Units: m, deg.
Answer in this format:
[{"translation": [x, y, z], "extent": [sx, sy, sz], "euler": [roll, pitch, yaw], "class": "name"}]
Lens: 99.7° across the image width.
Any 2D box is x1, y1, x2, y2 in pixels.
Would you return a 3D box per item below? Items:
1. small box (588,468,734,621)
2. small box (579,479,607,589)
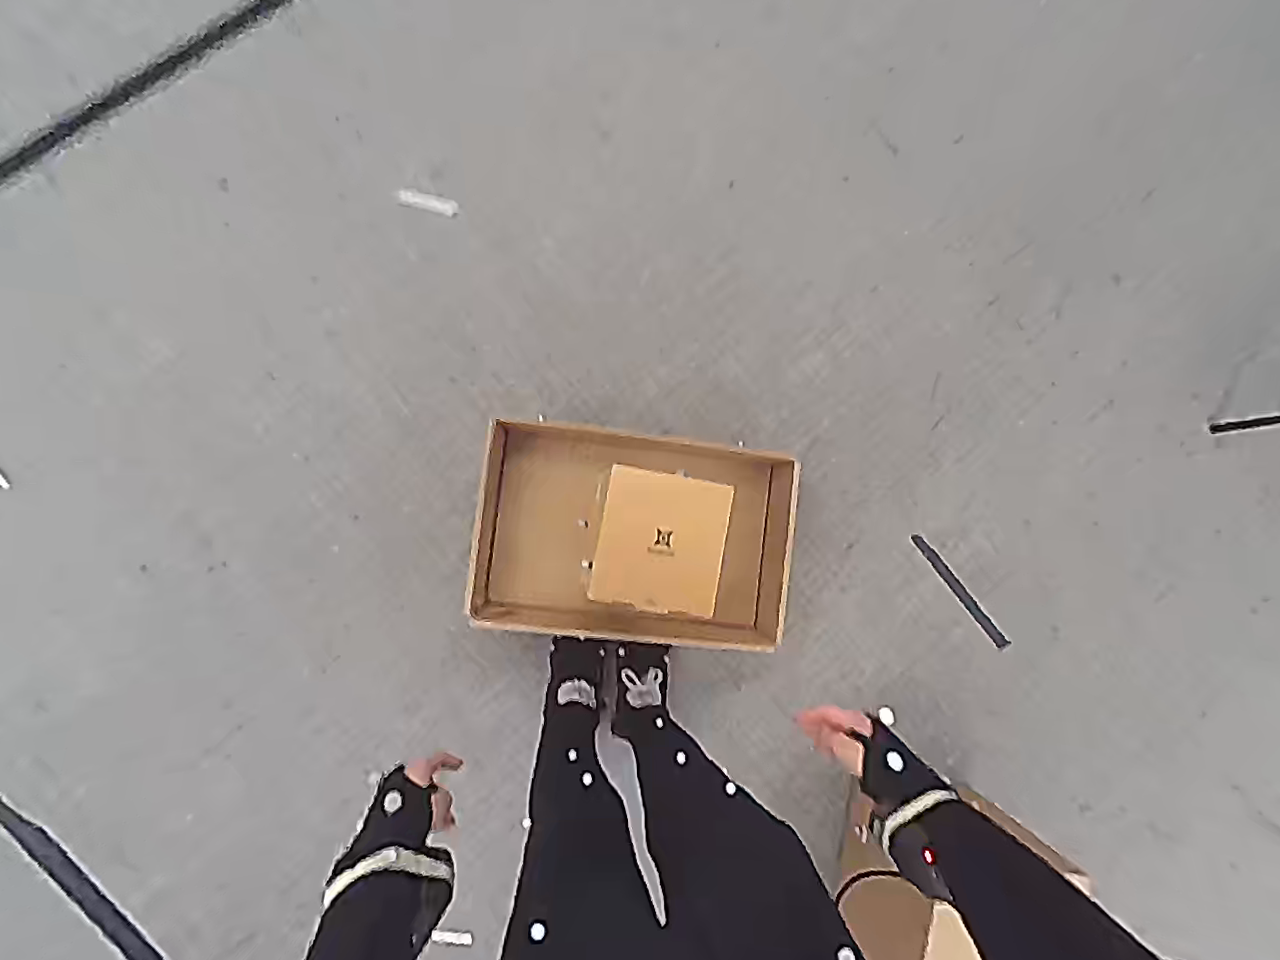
[{"translation": [0.020, 0.087, 0.776], "extent": [0.168, 0.176, 0.179], "euler": [10, 87, -7], "class": "small box"}, {"translation": [-0.009, 0.099, 0.937], "extent": [0.168, 0.176, 0.179], "euler": [11, 87, -8], "class": "small box"}]
